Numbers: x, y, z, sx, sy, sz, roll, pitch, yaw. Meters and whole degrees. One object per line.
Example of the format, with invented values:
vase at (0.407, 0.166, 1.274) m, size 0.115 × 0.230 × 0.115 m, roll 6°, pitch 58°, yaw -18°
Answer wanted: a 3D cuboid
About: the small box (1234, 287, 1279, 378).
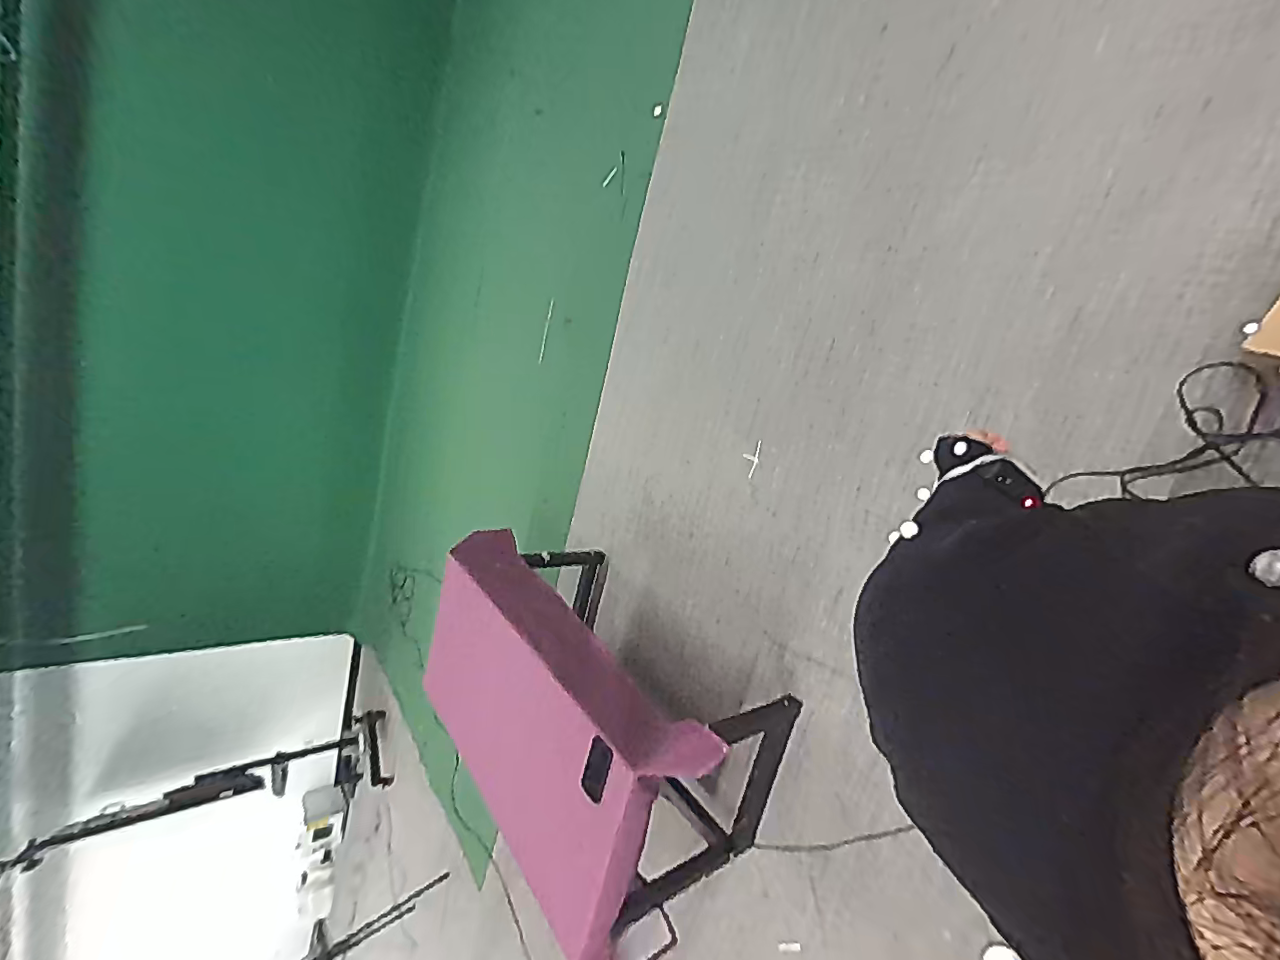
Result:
small box at (1.183, -0.264, 0.926) m, size 0.168 × 0.176 × 0.179 m, roll 43°, pitch 119°, yaw 42°
